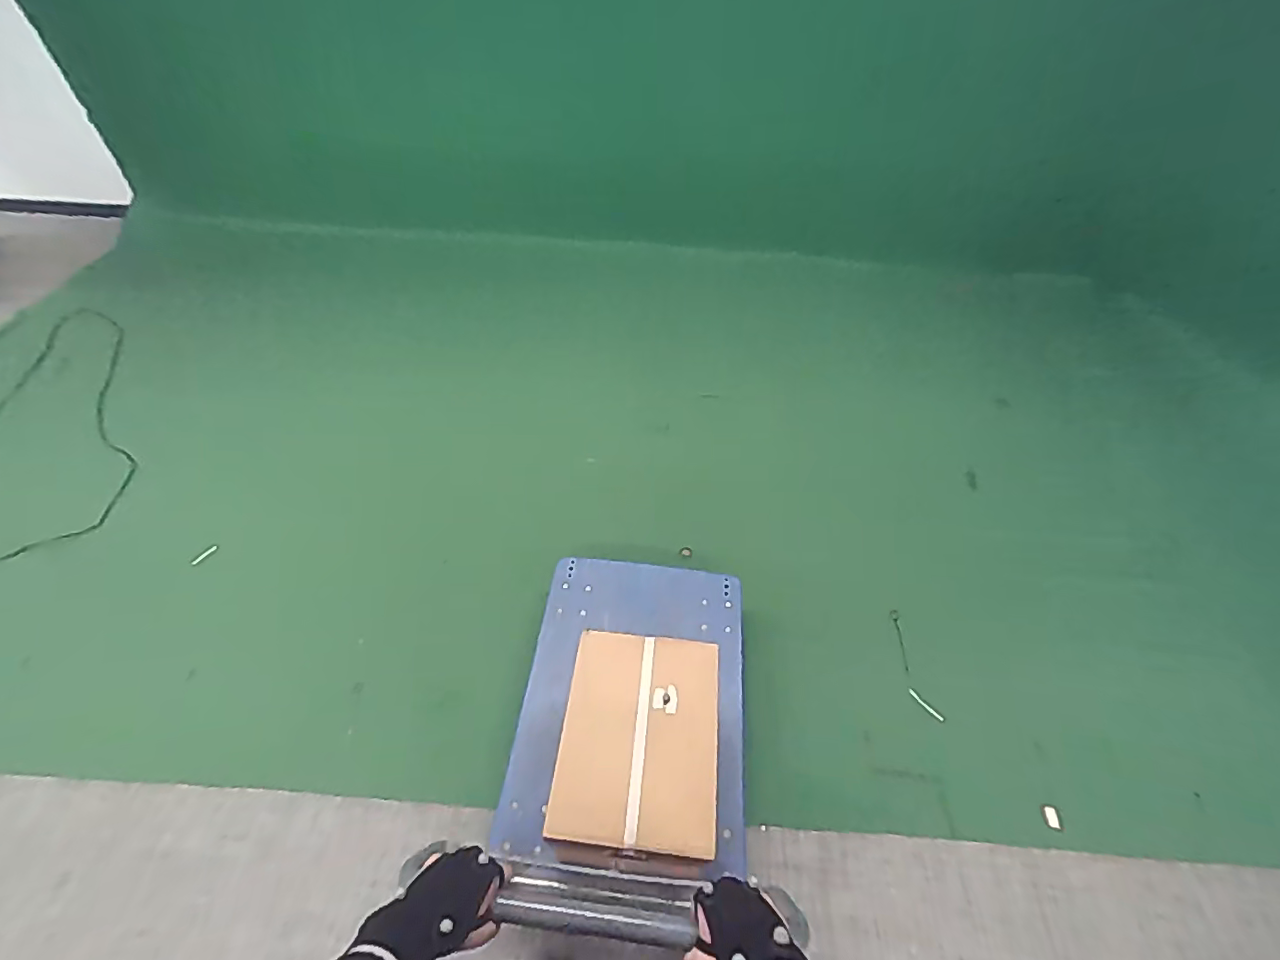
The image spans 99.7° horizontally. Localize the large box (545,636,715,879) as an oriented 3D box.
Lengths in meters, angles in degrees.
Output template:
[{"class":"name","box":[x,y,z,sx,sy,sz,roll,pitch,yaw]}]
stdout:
[{"class":"large box","box":[-0.008,0.613,1.201,0.320,0.320,0.408,6,48,2]}]
